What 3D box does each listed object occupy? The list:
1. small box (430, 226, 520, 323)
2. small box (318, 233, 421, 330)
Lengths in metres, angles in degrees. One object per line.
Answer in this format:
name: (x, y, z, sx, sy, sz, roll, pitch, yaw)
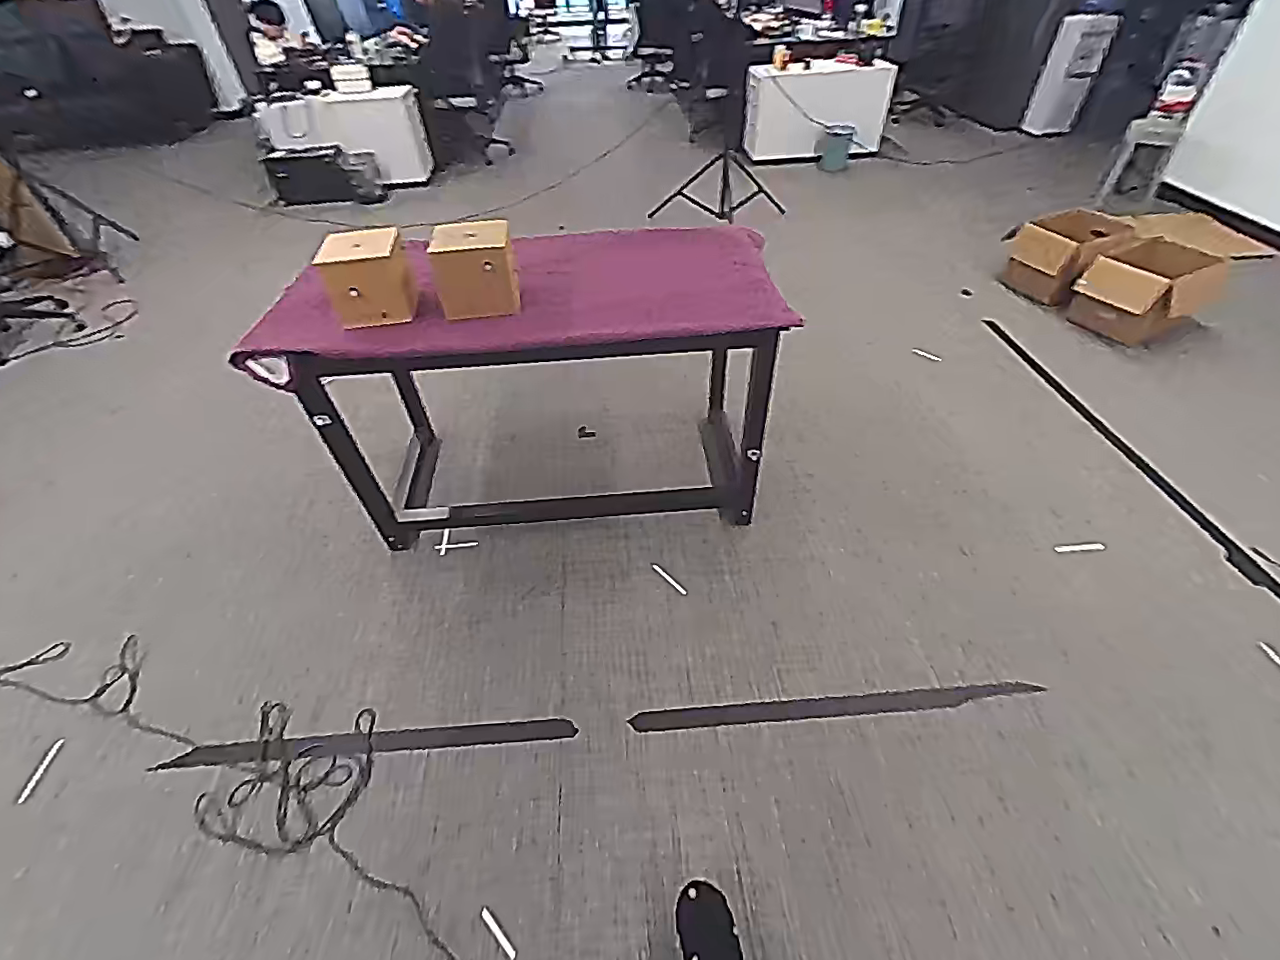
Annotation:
small box: (-0.394, -0.504, 1.328, 0.179, 0.176, 0.168, -7, 44, -5)
small box: (-0.650, -0.480, 1.322, 0.168, 0.176, 0.179, -9, 45, -6)
